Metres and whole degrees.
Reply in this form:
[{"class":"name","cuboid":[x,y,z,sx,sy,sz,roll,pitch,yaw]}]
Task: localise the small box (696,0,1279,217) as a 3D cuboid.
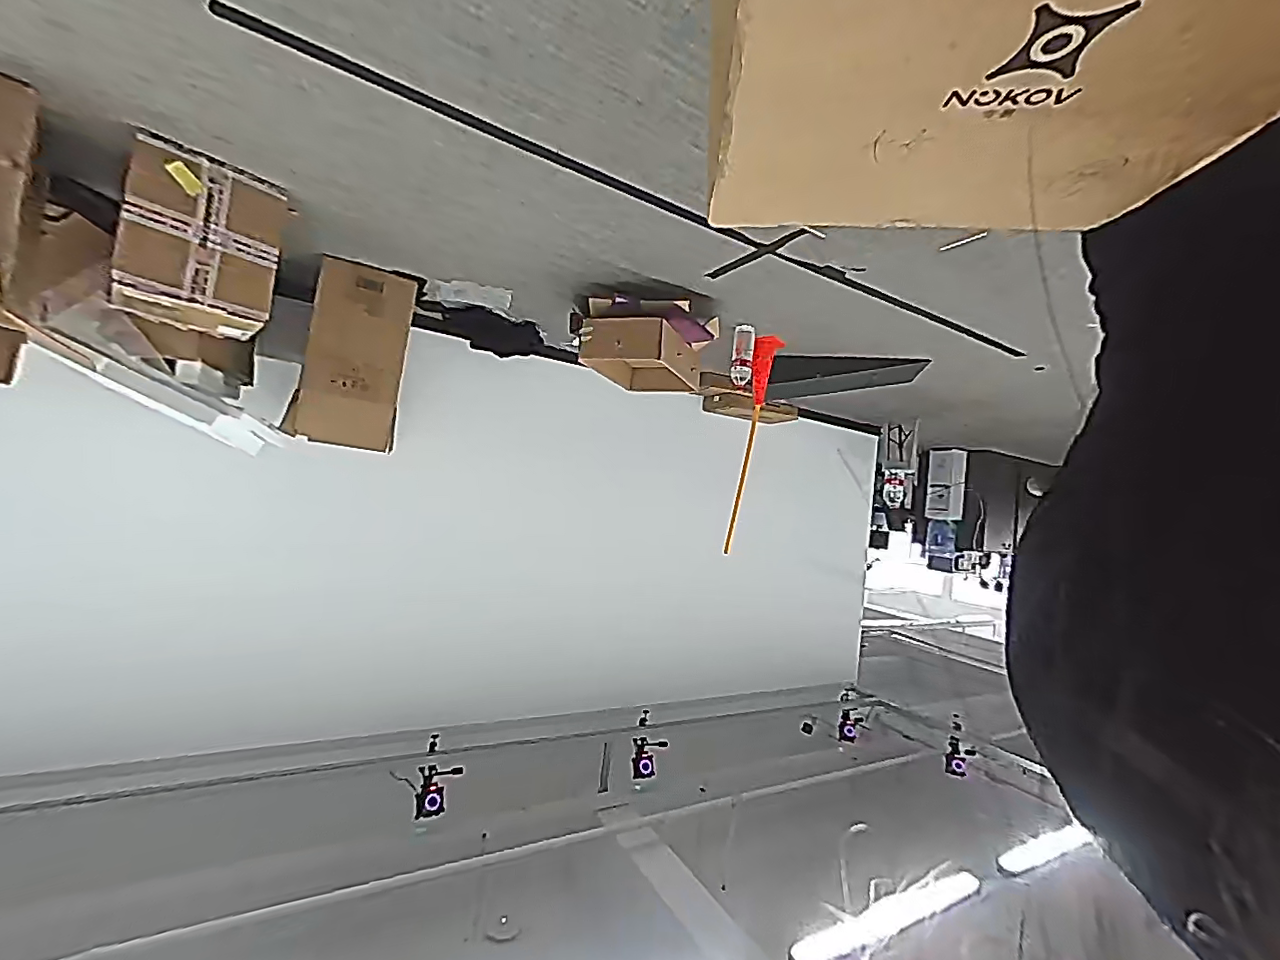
[{"class":"small box","cuboid":[0.104,-0.198,0.153,0.168,0.176,0.179,0,179,3]}]
